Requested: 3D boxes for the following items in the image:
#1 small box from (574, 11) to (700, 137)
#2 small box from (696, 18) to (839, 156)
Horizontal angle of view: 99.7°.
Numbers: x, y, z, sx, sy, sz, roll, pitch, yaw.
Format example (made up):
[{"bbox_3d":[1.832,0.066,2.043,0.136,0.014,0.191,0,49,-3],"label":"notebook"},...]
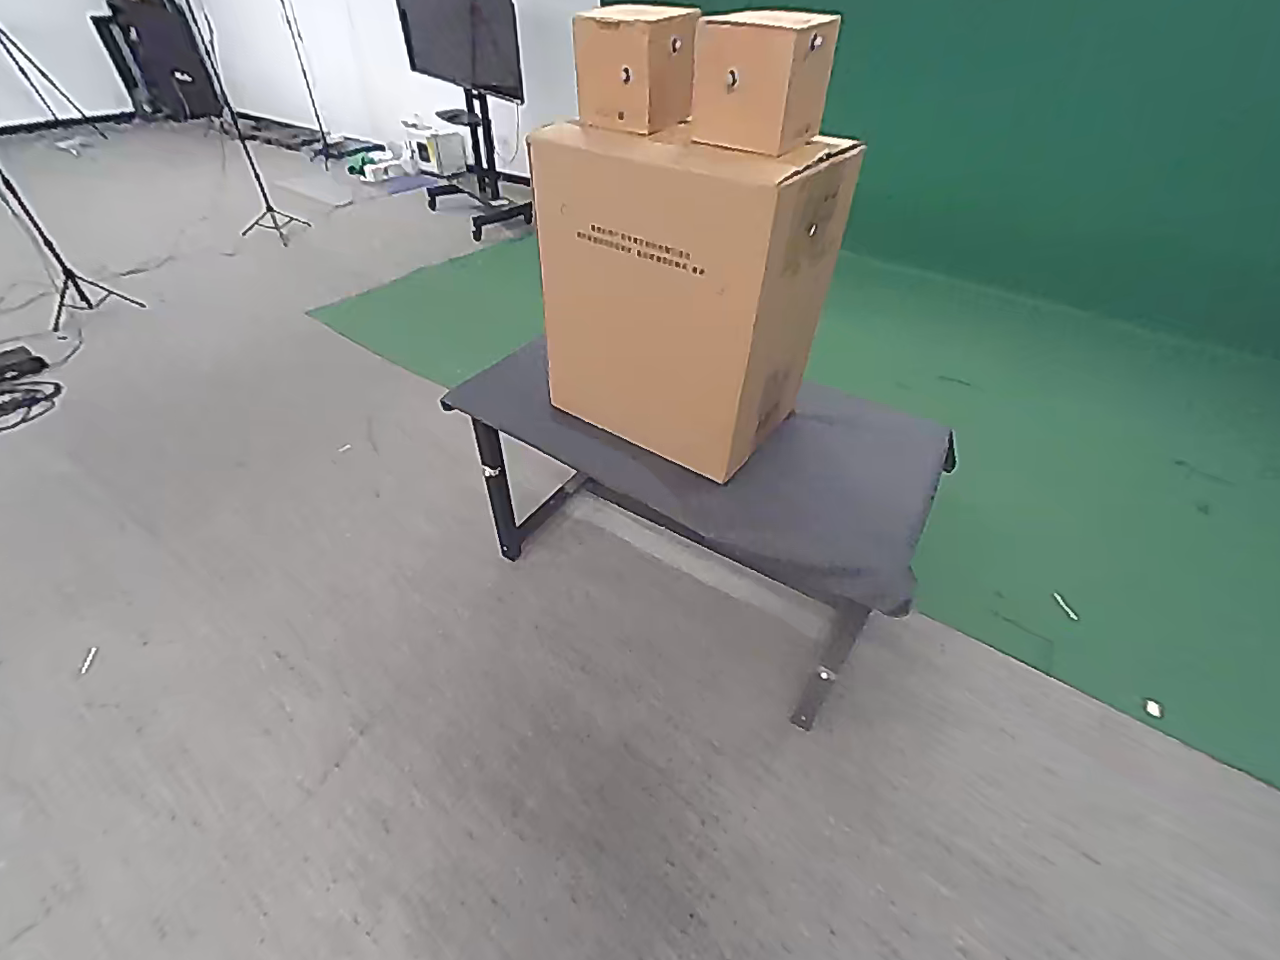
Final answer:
[{"bbox_3d":[-0.003,-0.772,1.029,0.168,0.176,0.179,27,51,23],"label":"small box"},{"bbox_3d":[0.207,-0.669,0.922,0.179,0.176,0.168,27,52,26],"label":"small box"}]
